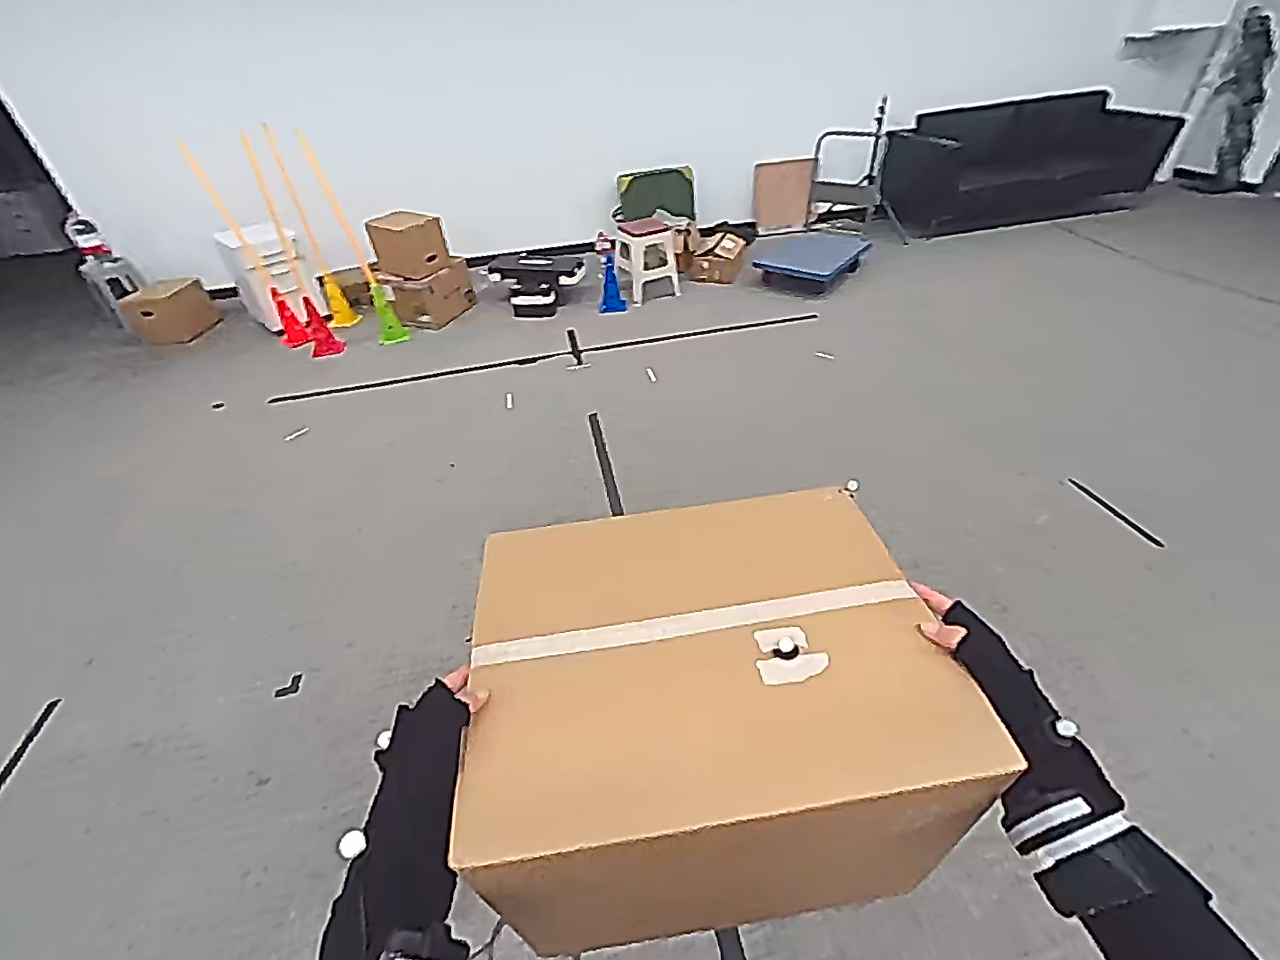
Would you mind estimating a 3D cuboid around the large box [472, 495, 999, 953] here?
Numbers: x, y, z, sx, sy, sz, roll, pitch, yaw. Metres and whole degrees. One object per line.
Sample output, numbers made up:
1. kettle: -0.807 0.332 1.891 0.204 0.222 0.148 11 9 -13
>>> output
1. large box: 0.065 0.256 0.597 0.408 0.320 0.320 -8 40 -3
